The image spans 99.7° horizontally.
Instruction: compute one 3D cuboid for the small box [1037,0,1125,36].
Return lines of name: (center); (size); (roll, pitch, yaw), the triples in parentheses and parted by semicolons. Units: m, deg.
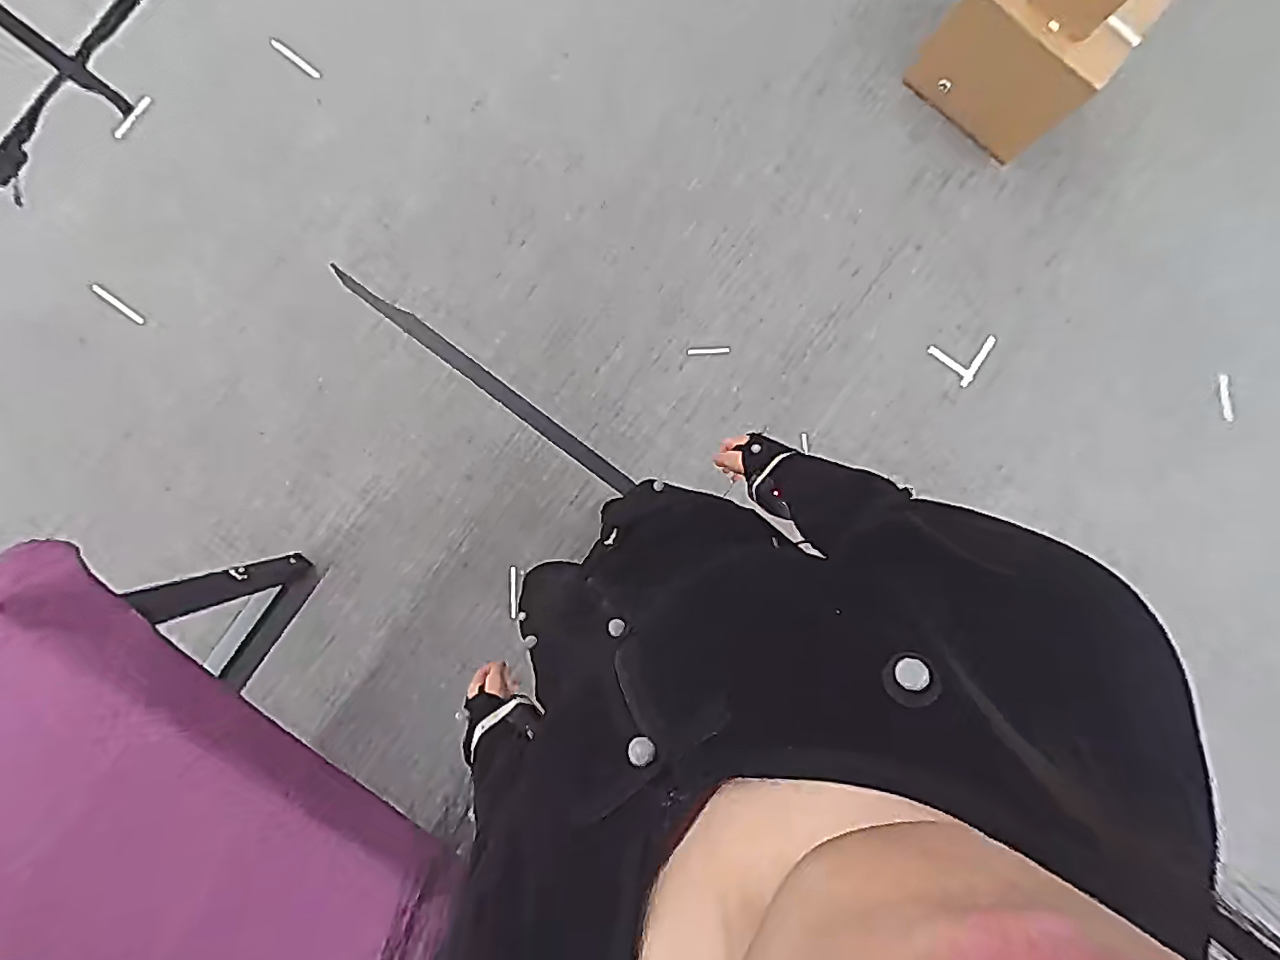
small box: (1.036, -1.160, 1.206); (0.179, 0.176, 0.168); (35, 88, -4)
